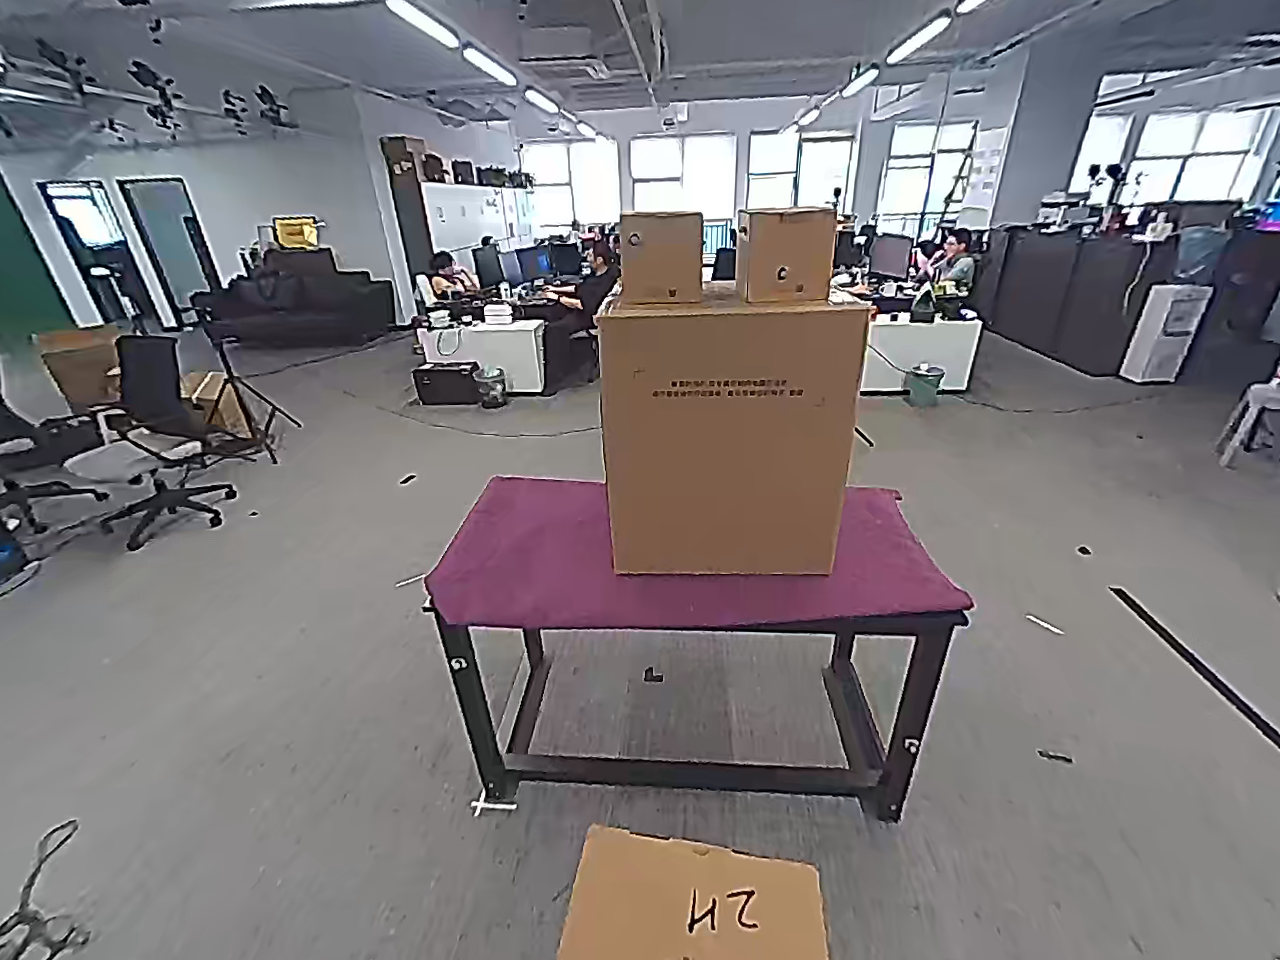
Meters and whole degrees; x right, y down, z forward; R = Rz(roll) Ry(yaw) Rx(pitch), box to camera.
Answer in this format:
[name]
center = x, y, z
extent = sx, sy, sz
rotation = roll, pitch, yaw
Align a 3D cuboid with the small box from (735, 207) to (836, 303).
[small box]
center = 0.292, -0.471, 1.127
extent = 0.168, 0.176, 0.179
rotation = -2, 28, 2
